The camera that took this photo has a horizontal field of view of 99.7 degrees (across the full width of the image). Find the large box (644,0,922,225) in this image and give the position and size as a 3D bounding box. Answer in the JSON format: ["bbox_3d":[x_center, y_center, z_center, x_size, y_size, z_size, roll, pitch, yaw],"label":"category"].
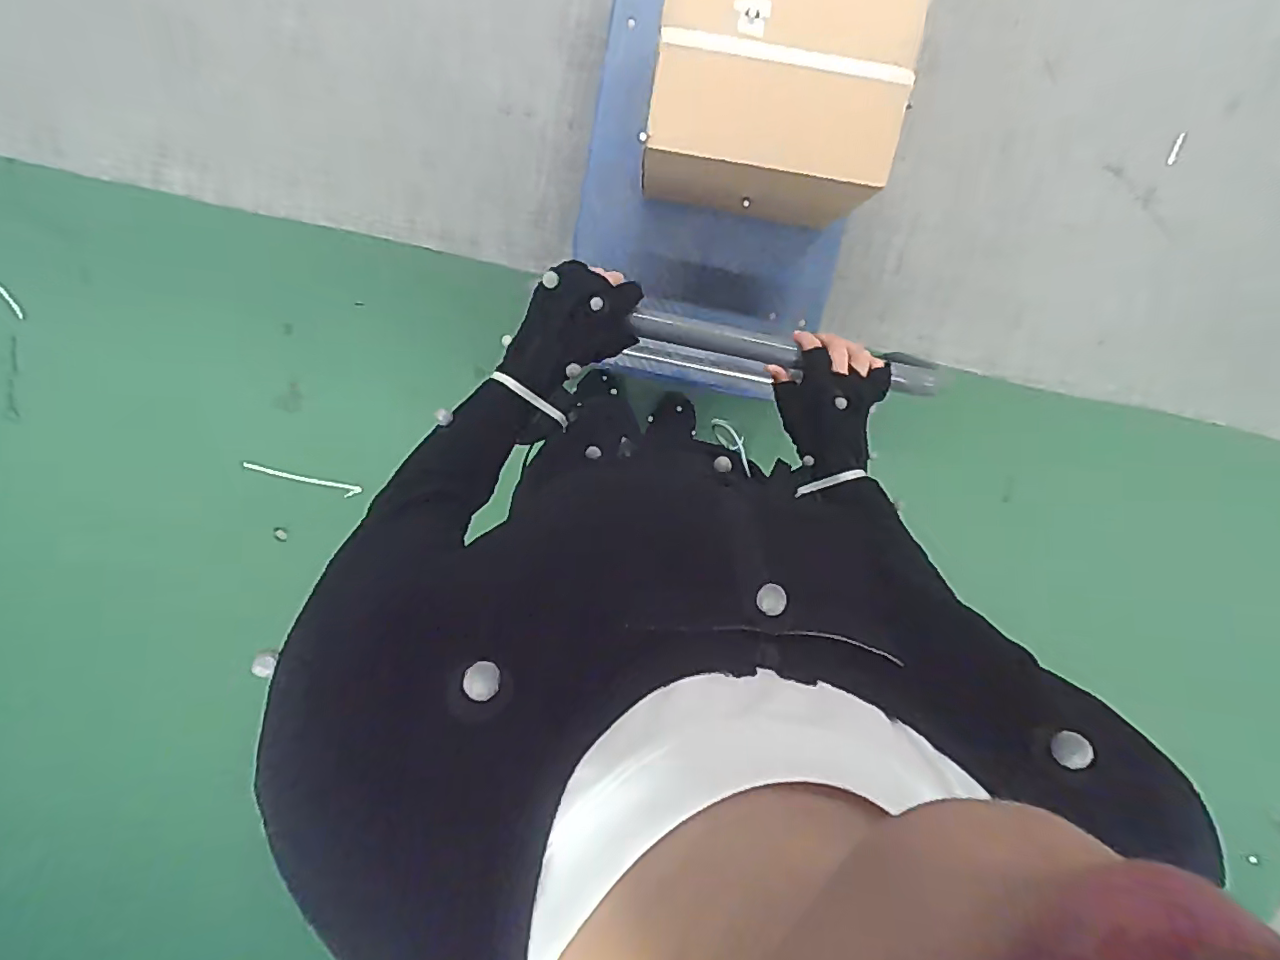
[{"bbox_3d":[0.227,-0.693,1.002,0.408,0.320,0.320,9,102,-2],"label":"large box"}]
